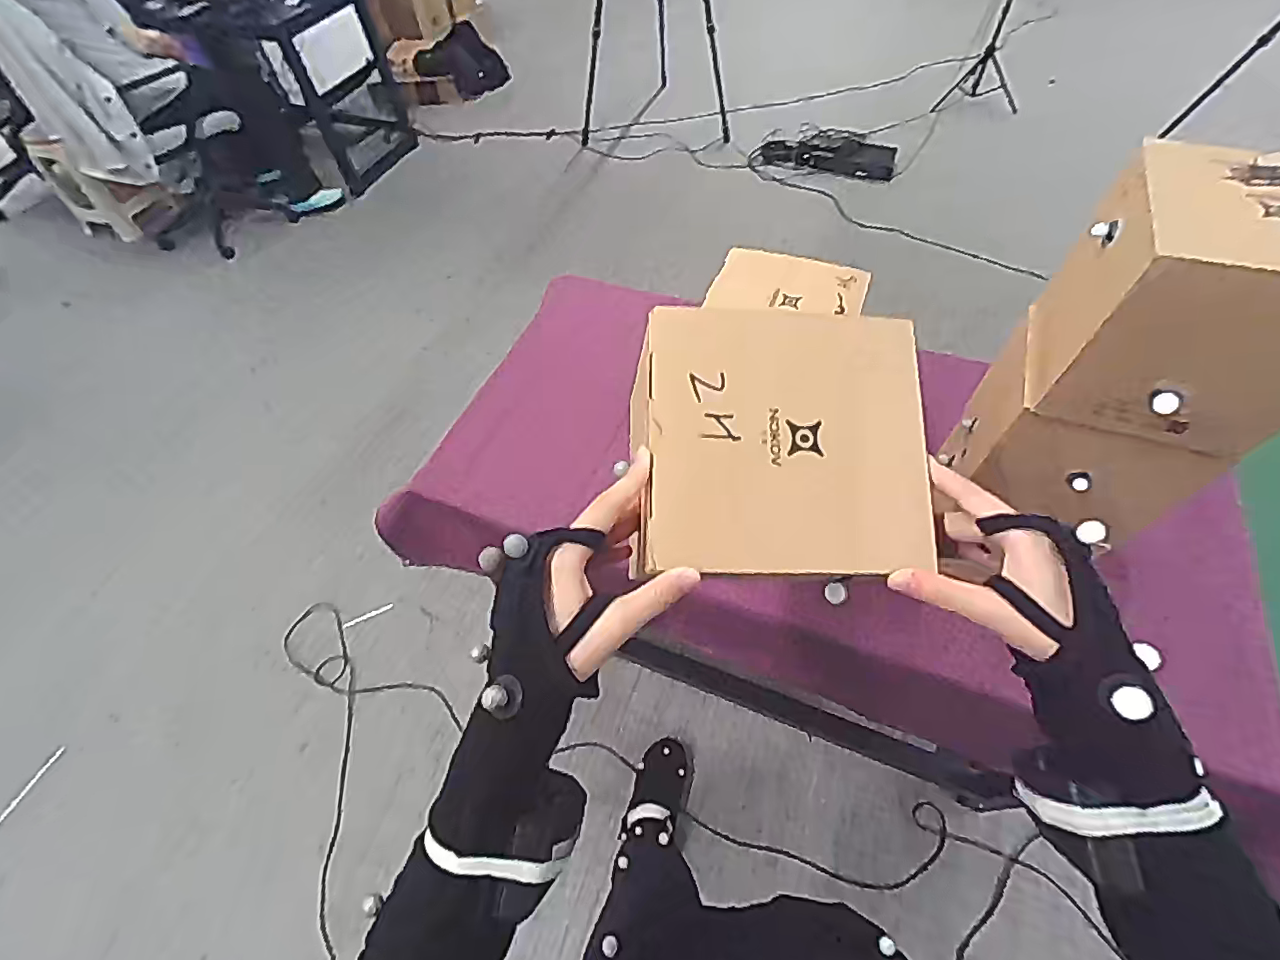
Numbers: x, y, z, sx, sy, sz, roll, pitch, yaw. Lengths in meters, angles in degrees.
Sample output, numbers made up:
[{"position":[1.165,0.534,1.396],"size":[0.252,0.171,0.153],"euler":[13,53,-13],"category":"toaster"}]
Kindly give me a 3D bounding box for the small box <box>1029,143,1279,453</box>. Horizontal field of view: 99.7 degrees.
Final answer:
[{"position":[0.468,-0.154,0.467],"size":[0.168,0.176,0.179],"euler":[17,58,16],"category":"small box"}]

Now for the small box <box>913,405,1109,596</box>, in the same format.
[{"position":[0.492,0.032,0.736],"size":[0.168,0.176,0.179],"euler":[18,58,16],"category":"small box"}]

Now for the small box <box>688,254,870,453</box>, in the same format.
[{"position":[0.169,-0.158,0.691],"size":[0.179,0.176,0.168],"euler":[17,58,16],"category":"small box"}]
